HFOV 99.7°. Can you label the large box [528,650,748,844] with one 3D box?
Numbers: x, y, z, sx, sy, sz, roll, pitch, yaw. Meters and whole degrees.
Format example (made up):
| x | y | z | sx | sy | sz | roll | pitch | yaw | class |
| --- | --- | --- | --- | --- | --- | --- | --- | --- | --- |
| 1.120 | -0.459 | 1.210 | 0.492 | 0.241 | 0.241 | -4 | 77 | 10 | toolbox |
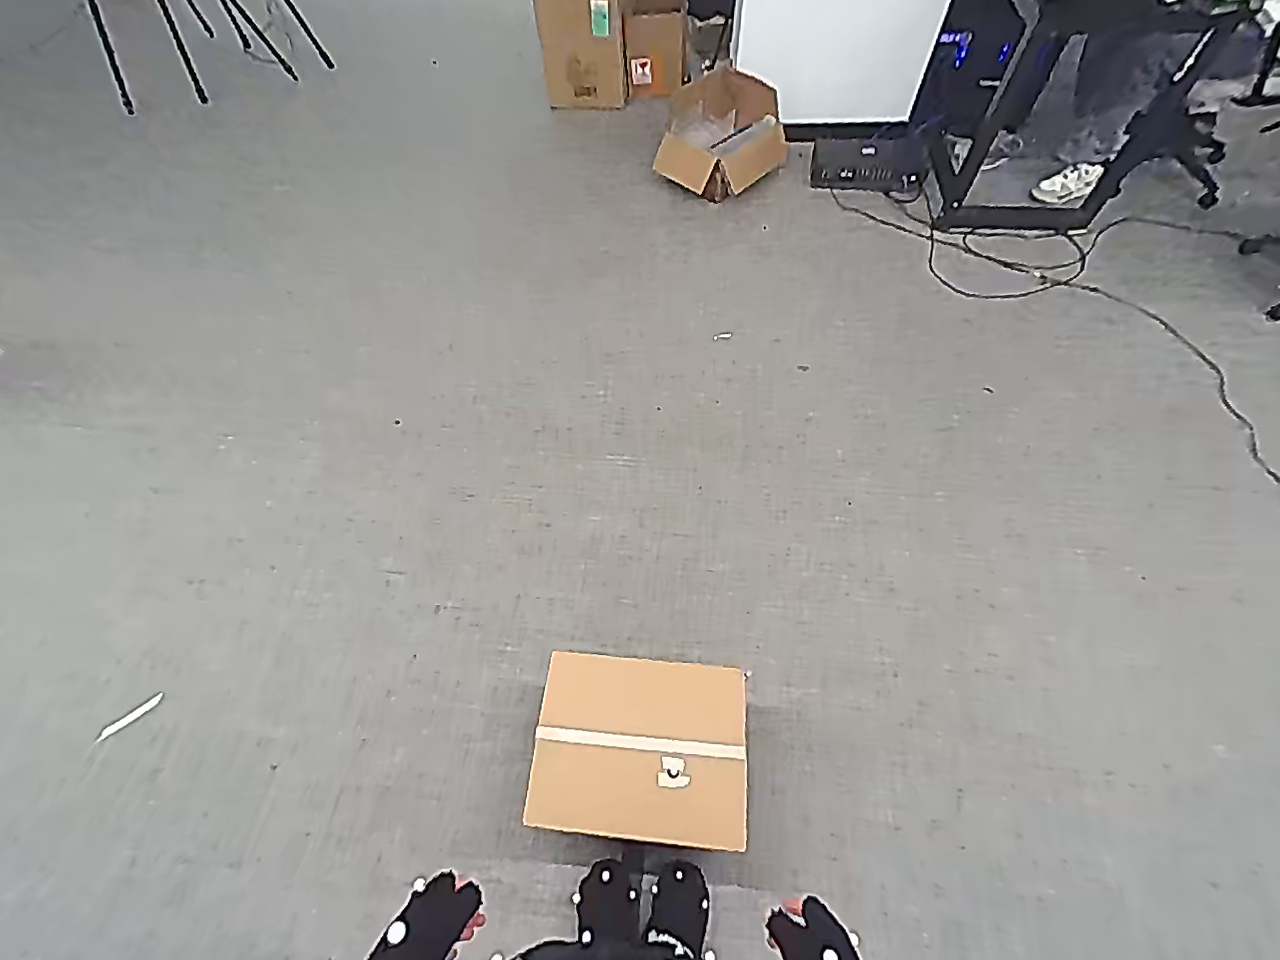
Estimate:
| x | y | z | sx | sy | sz | roll | pitch | yaw | class |
| --- | --- | --- | --- | --- | --- | --- | --- | --- | --- |
| 0.007 | 0.575 | 1.168 | 0.408 | 0.320 | 0.320 | 4 | 60 | 4 | large box |
